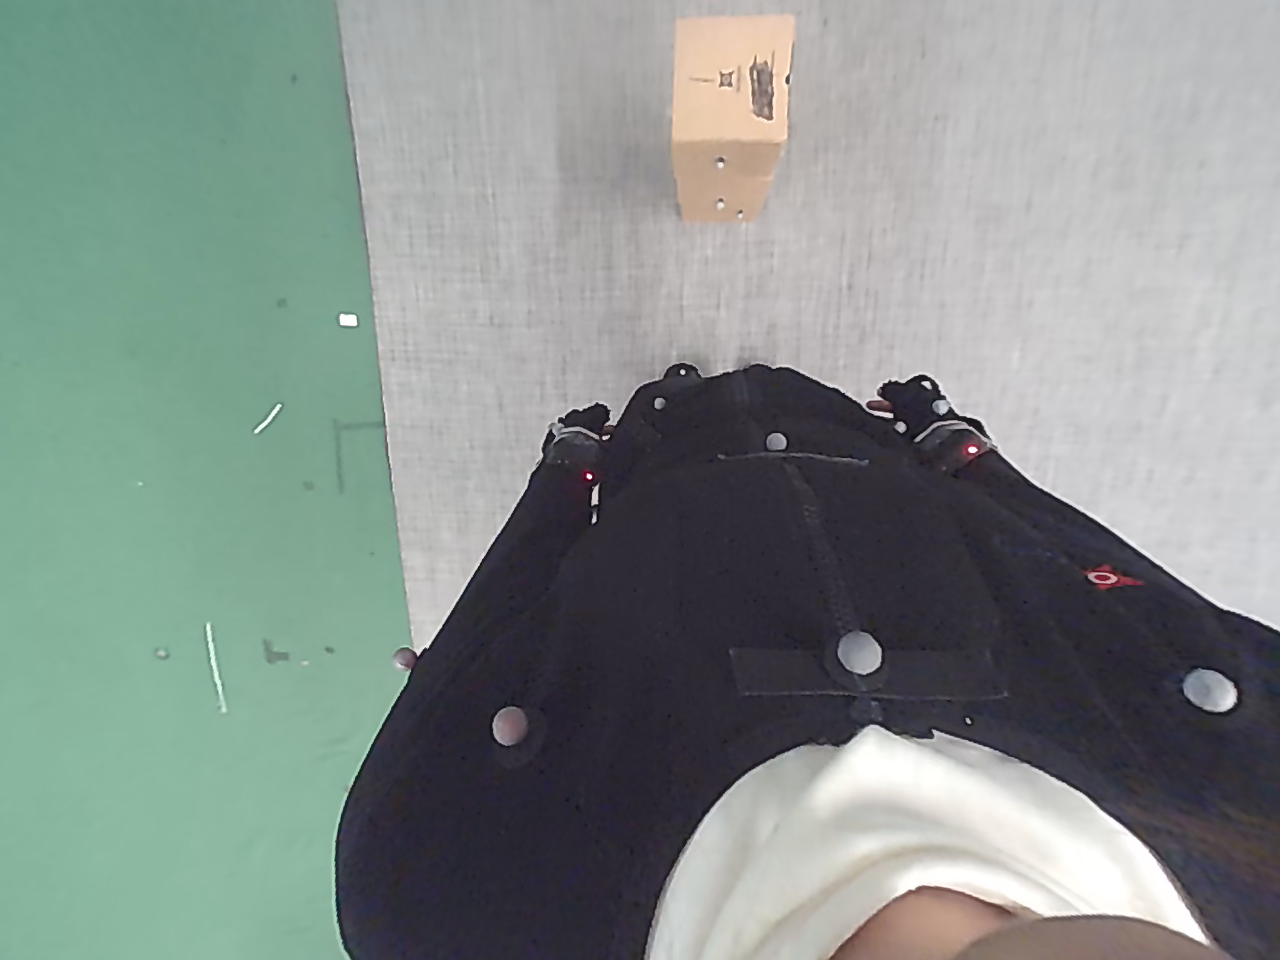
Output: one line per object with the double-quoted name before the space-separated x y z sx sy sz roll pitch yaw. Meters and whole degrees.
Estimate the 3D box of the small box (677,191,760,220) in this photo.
"small box" 0.173 -0.688 1.202 0.179 0.176 0.168 1 102 6

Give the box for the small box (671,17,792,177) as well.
"small box" 0.139 -0.611 0.884 0.179 0.176 0.168 0 103 4

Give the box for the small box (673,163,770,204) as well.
"small box" 0.157 -0.646 1.044 0.179 0.176 0.168 5 103 4
